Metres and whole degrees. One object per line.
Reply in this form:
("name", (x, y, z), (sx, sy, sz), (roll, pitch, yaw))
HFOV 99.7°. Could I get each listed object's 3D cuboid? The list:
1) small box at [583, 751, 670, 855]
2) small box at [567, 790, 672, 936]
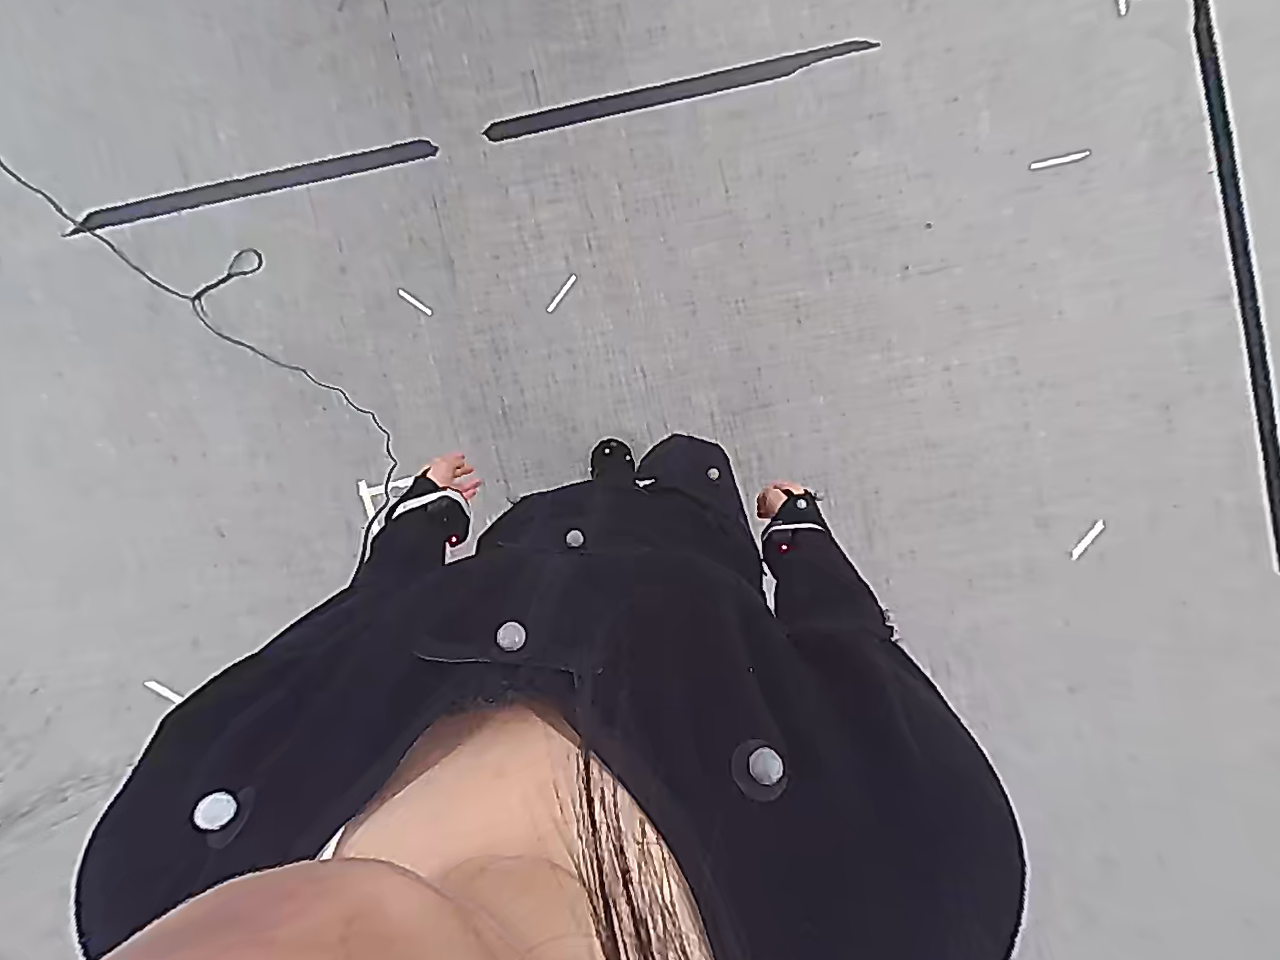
("small box", (-0.030, 0.780, 1.296), (0.168, 0.176, 0.179), (-15, 94, 3))
("small box", (-0.037, 0.793, 1.134), (0.179, 0.176, 0.168), (-16, 93, 2))
